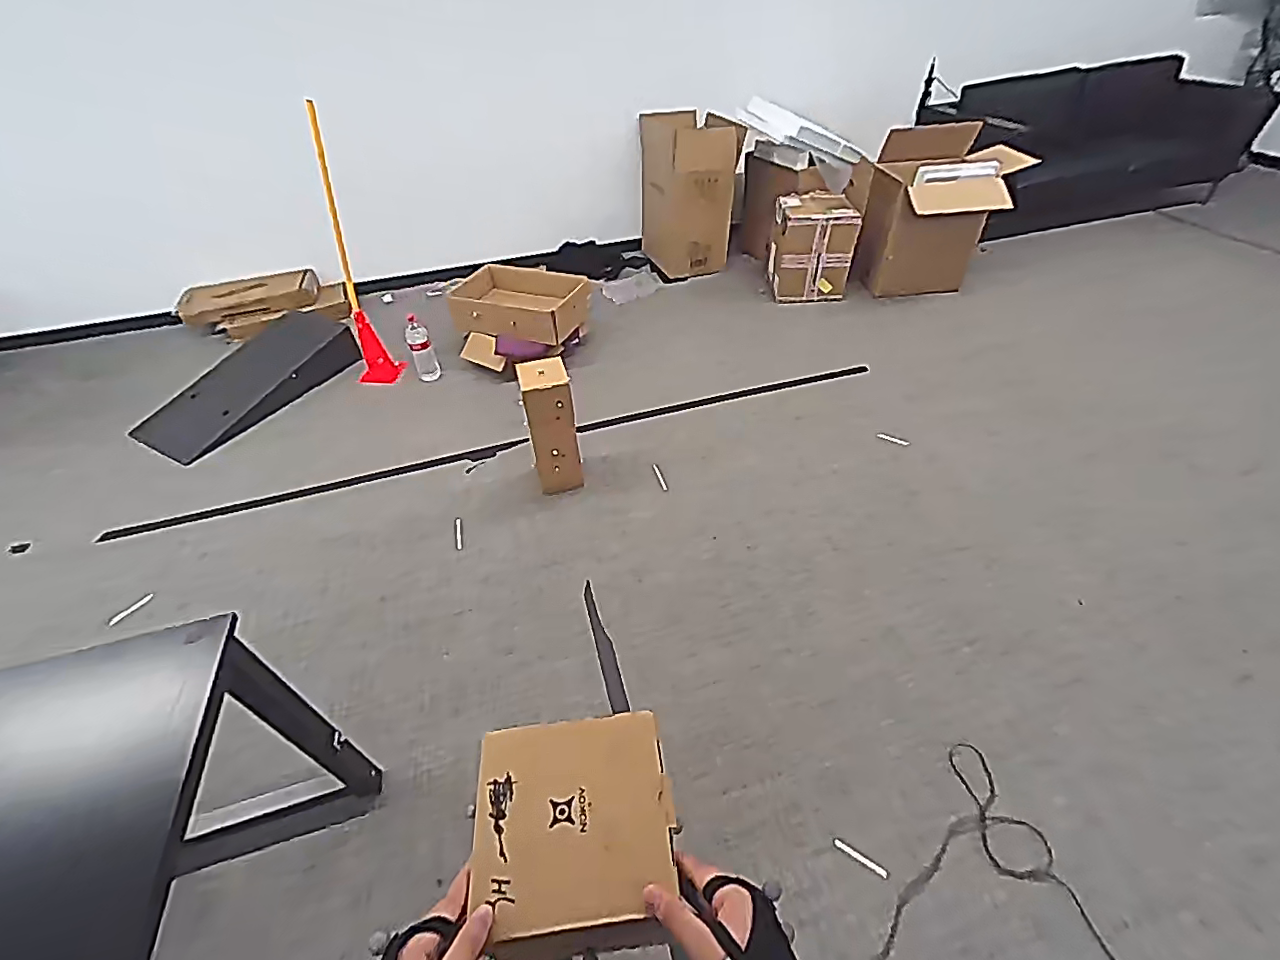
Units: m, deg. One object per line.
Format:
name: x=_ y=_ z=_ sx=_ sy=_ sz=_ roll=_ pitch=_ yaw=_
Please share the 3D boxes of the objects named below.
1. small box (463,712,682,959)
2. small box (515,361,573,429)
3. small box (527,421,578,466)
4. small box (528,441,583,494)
small box: x=-0.060 y=0.356 z=0.540 sx=0.179 sy=0.176 sz=0.168 roll=-4 pitch=40 yaw=-5
small box: x=-0.340 y=-0.298 z=1.924 sx=0.168 sy=0.176 sz=0.179 roll=-13 pitch=44 yaw=-12
small box: x=-0.336 y=-0.179 z=2.035 sx=0.168 sy=0.176 sz=0.179 roll=-13 pitch=46 yaw=-10
small box: x=-0.335 y=-0.063 z=2.152 sx=0.179 sy=0.176 sz=0.168 roll=-12 pitch=45 yaw=-11
